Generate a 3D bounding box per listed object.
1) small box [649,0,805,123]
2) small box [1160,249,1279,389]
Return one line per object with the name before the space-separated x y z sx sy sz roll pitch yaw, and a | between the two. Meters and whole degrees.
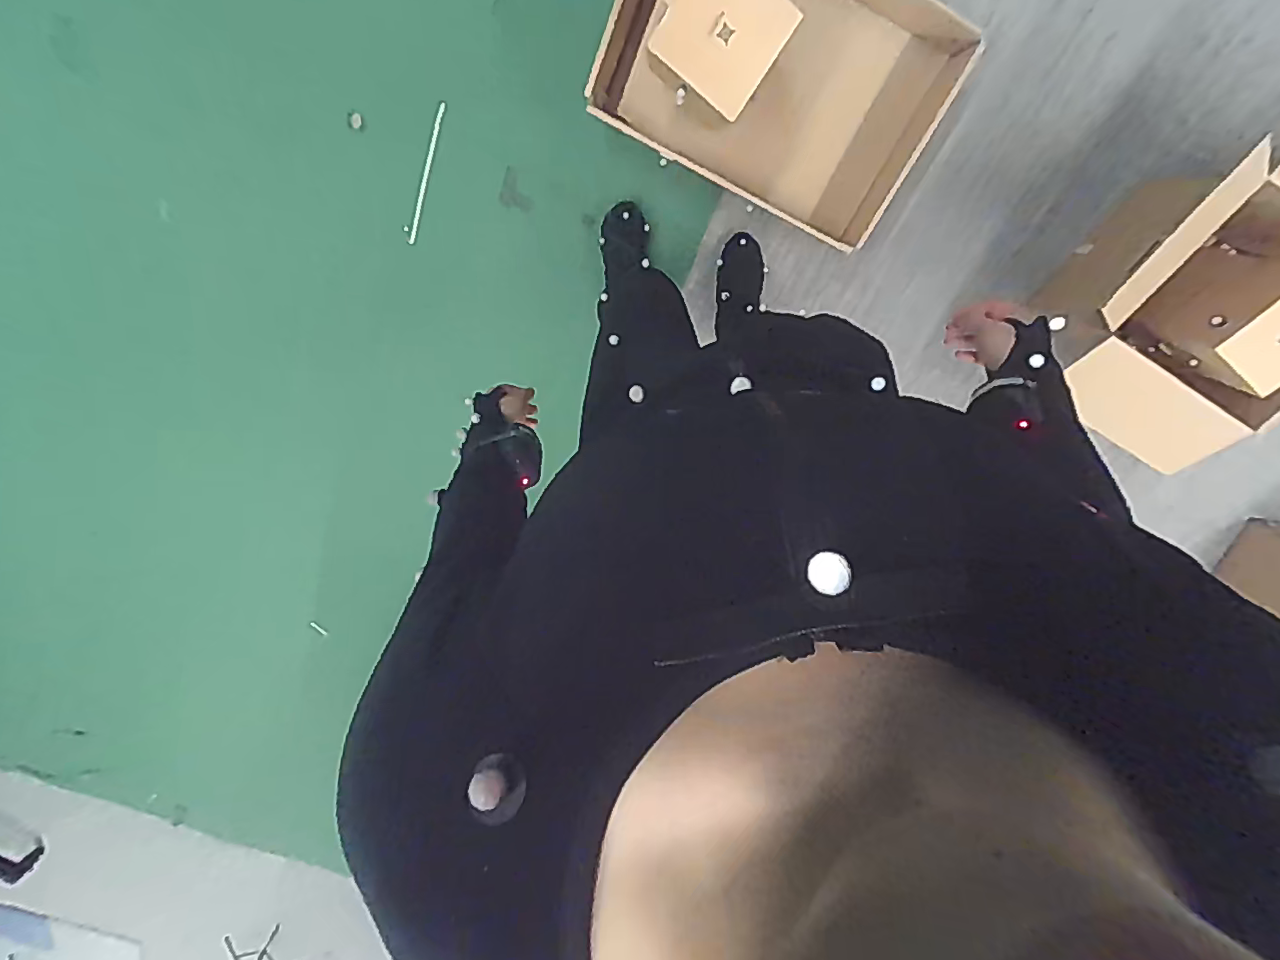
small box | 0.133 -0.714 0.877 0.179 0.176 0.168 33 114 -13
small box | 1.165 -0.311 1.034 0.168 0.176 0.179 31 116 -15
